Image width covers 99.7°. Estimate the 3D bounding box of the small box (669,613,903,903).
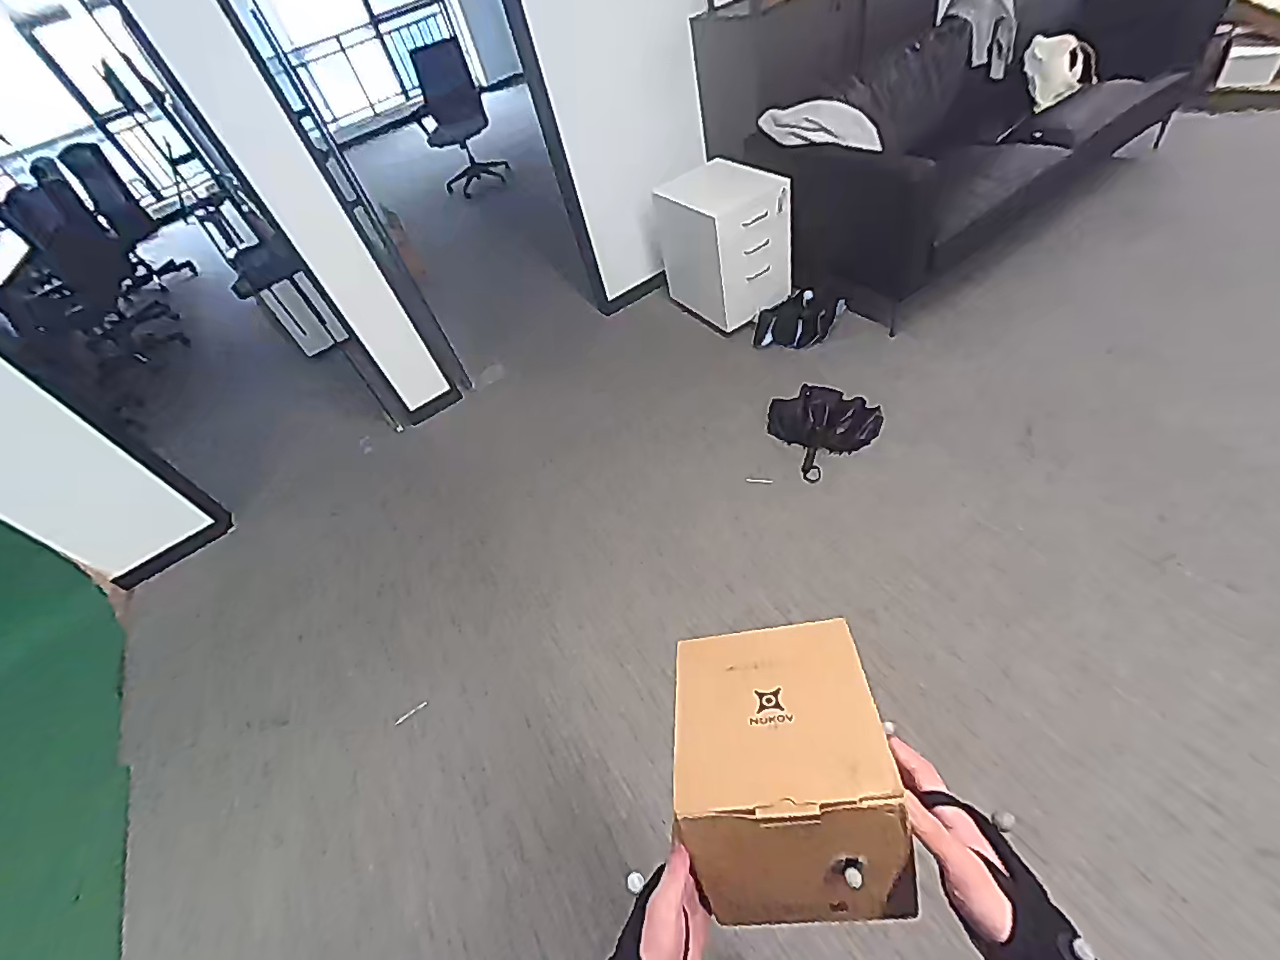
[{"bbox_3d":[0.127,0.252,0.492,0.168,0.176,0.179,-11,27,11],"label":"small box"}]
